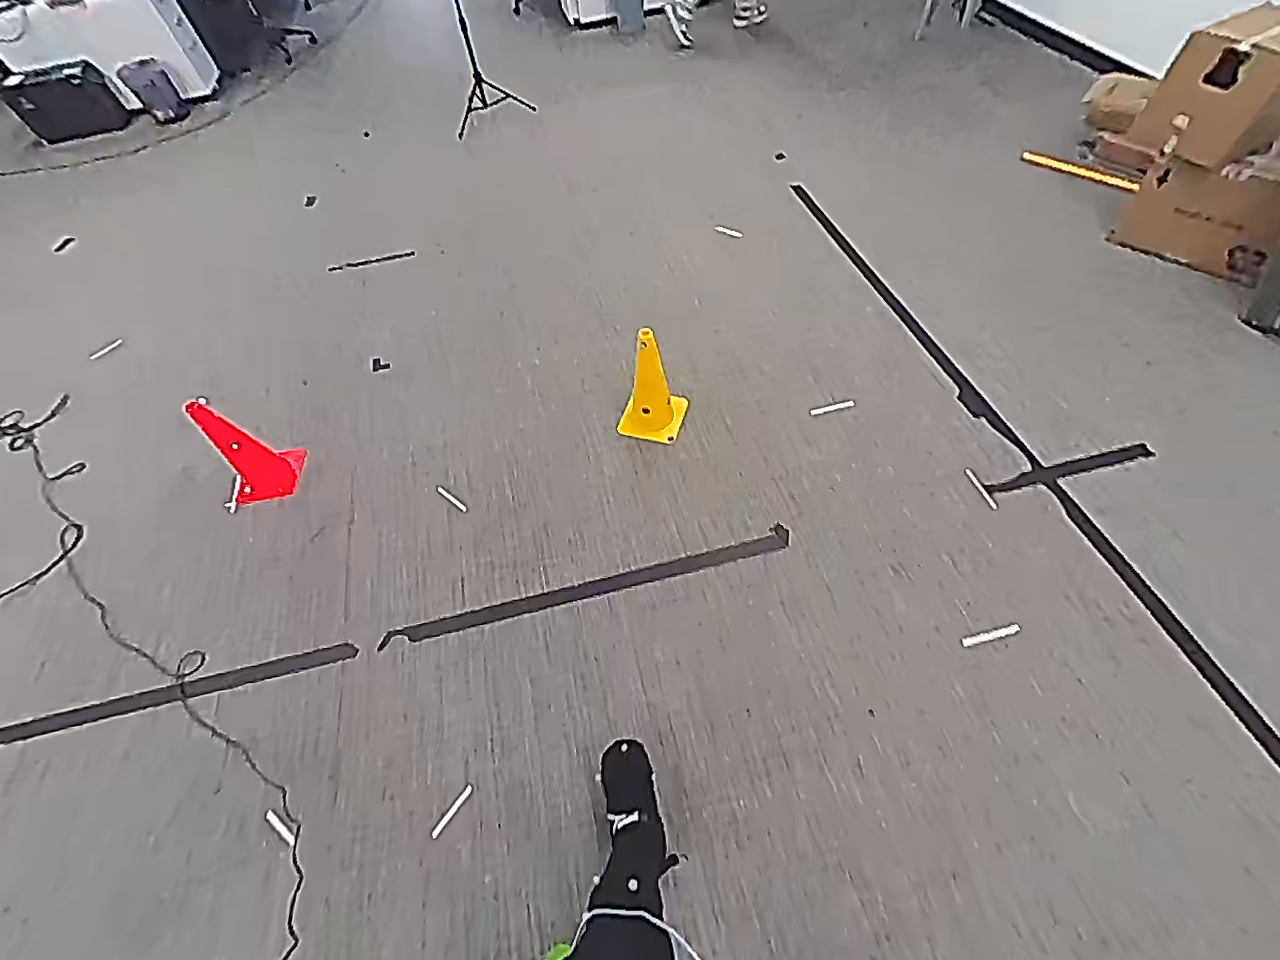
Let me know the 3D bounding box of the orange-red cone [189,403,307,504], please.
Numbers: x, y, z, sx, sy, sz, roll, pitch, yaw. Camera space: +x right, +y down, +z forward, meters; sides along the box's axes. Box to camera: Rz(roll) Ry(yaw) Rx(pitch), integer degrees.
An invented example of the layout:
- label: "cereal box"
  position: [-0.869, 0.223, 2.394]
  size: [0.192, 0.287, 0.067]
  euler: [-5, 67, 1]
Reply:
- label: "orange-red cone"
  position: [-1.248, -0.107, 1.680]
  size: [0.199, 0.360, 0.198]
  euler: [-7, 56, -1]

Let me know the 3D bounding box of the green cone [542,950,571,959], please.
- label: "green cone"
  position: [-0.203, 0.934, 0.857]
  size: [0.202, 0.368, 0.200]
  euler: [-28, 57, -12]
